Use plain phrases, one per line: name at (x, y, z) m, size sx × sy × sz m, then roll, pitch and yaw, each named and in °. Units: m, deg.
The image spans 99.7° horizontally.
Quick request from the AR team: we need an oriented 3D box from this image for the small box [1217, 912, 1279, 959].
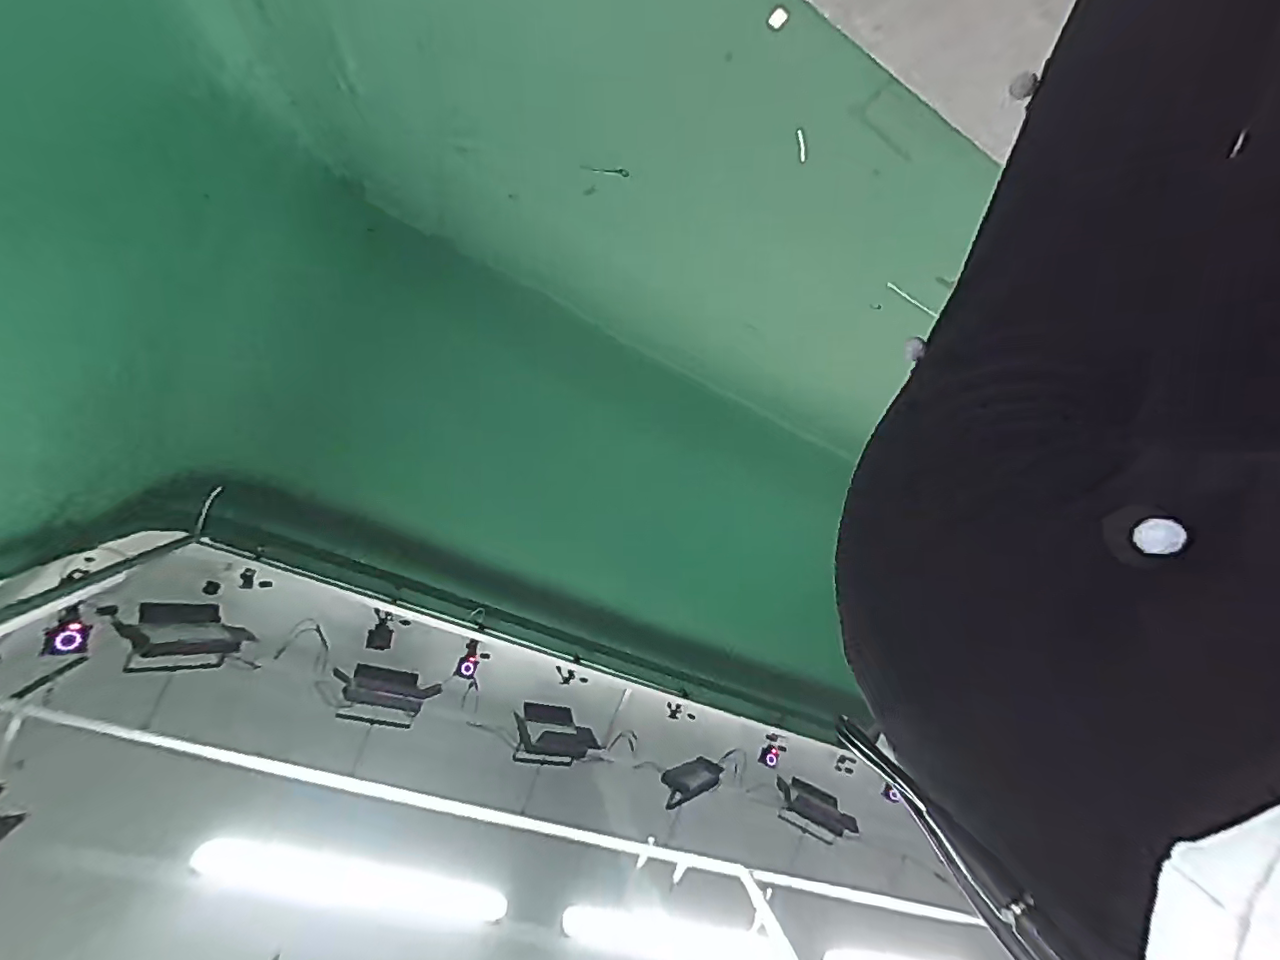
small box at (1.817, 1.389, 1.541) m, size 0.168 × 0.176 × 0.179 m, roll 26°, pitch 178°, yaw -20°
